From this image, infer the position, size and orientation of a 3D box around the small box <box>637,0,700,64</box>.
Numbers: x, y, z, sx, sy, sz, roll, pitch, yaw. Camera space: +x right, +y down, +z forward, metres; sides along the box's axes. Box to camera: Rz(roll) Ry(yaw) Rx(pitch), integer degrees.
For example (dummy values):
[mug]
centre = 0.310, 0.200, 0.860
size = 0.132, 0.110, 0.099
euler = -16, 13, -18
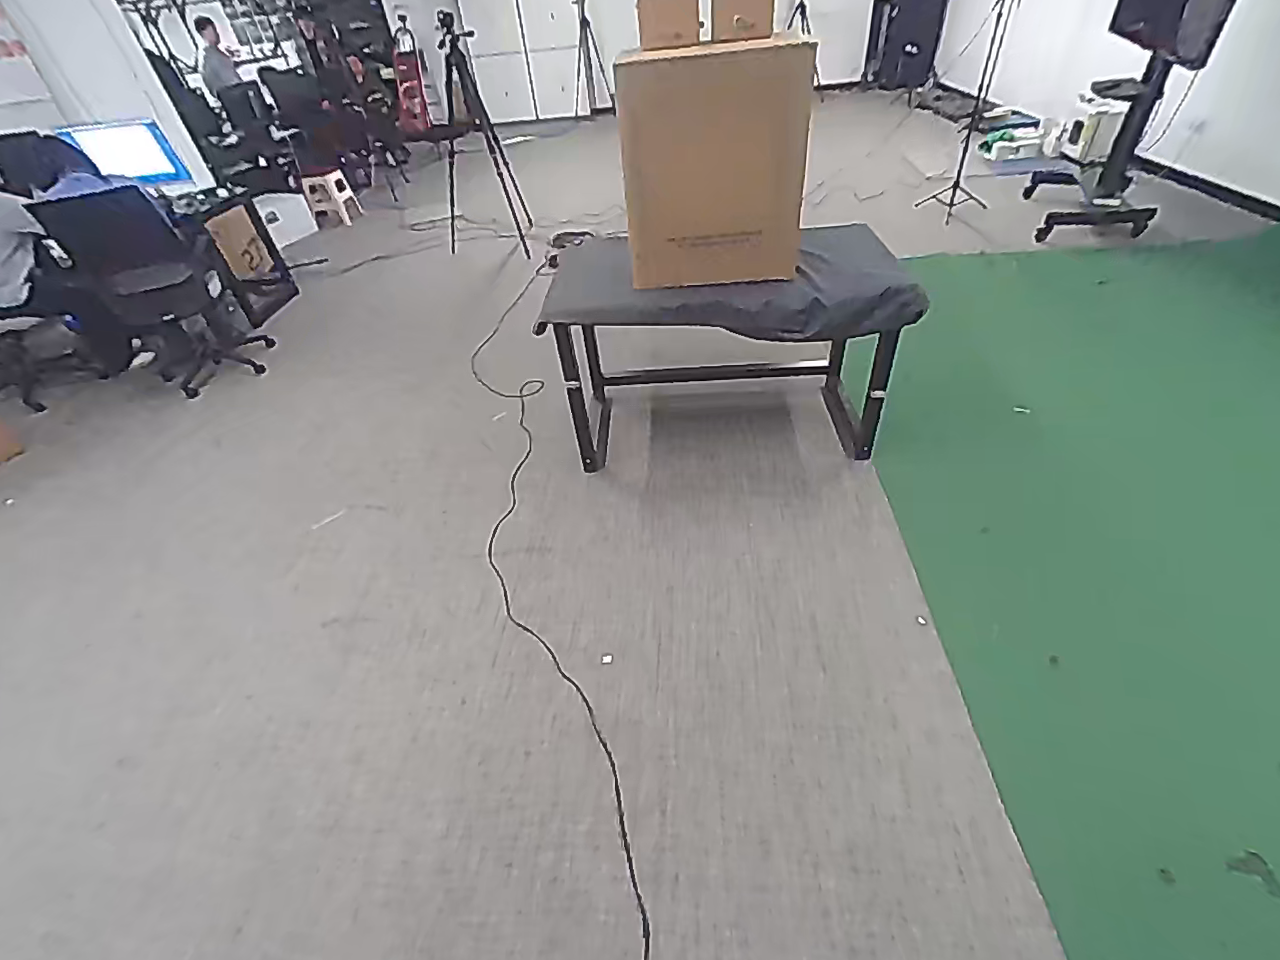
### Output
[small box]
centre = 0.084, -1.298, 1.538
size = 0.168, 0.176, 0.179
euler = -3, 39, 7
